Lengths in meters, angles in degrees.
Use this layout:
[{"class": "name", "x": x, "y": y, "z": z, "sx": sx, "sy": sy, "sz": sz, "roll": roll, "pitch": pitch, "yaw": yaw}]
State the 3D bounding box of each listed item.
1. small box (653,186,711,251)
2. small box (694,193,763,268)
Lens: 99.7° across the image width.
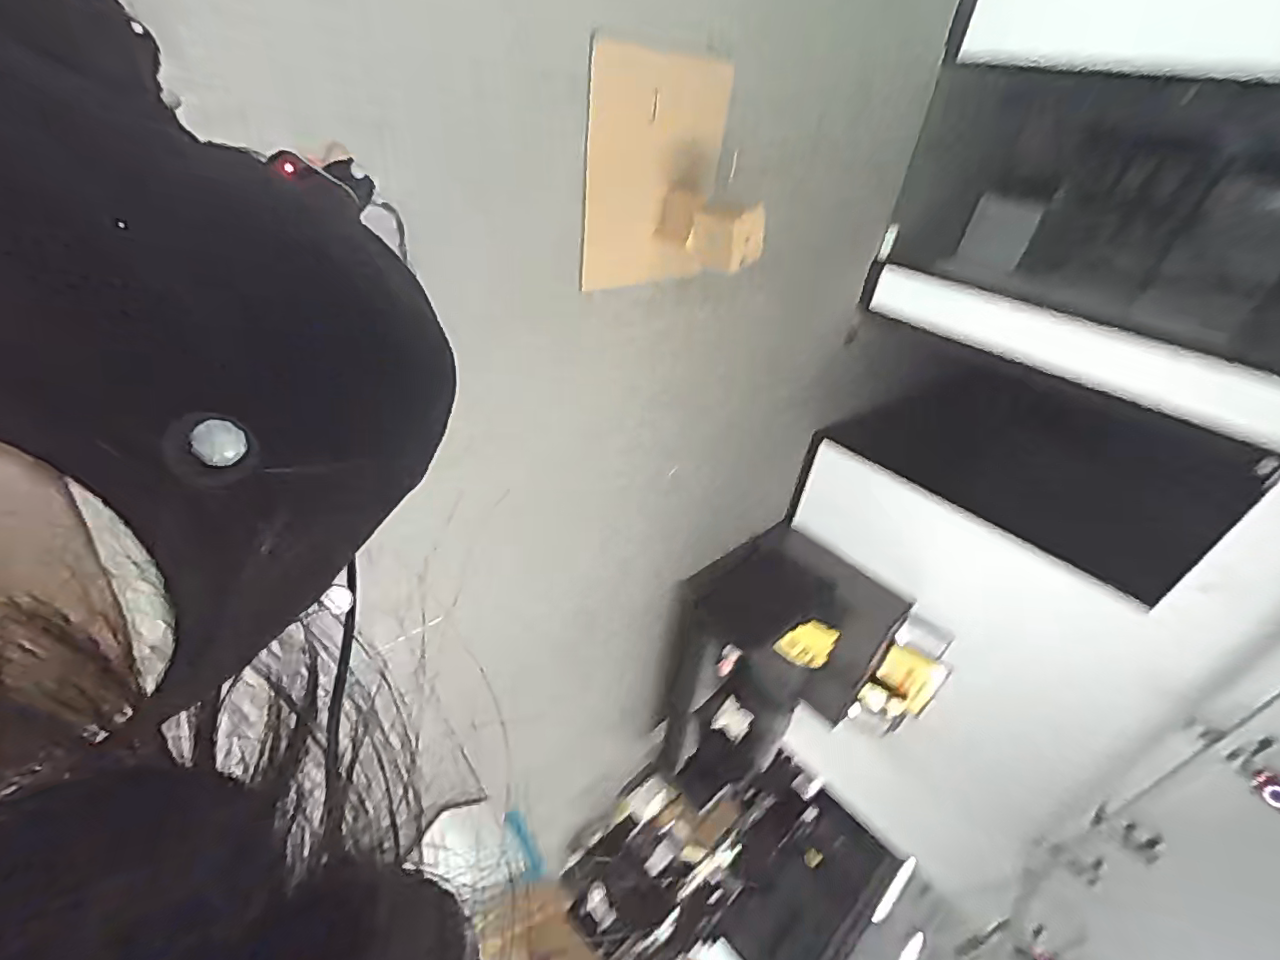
[{"class": "small box", "x": 0.179, "y": -0.920, "z": 1.919, "sx": 0.179, "sy": 0.176, "sz": 0.168, "roll": -5, "pitch": 123, "yaw": -49}, {"class": "small box", "x": 0.296, "y": -0.850, "z": 1.828, "sx": 0.168, "sy": 0.176, "sz": 0.179, "roll": -38, "pitch": 143, "yaw": -23}]
